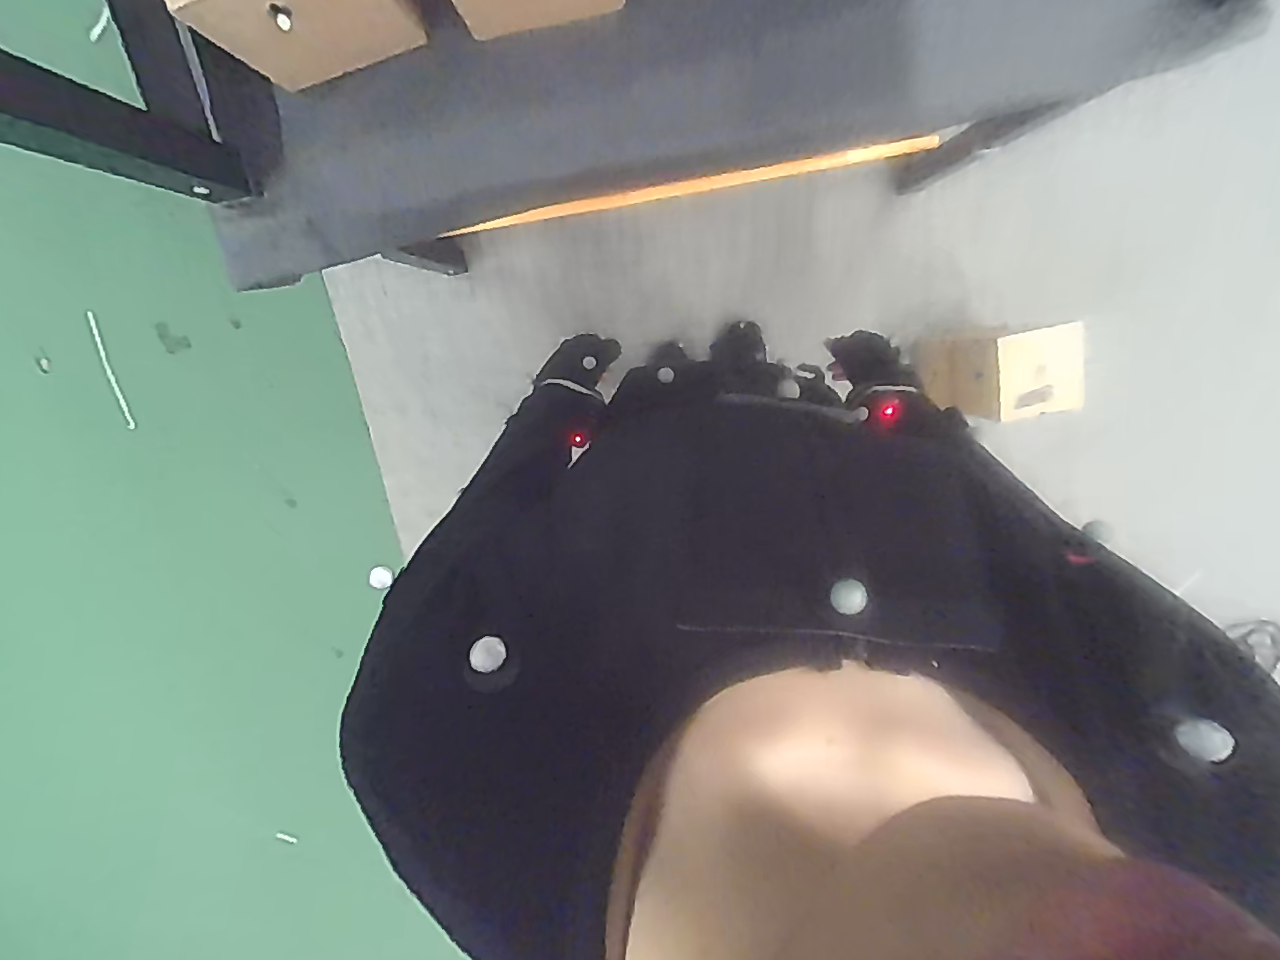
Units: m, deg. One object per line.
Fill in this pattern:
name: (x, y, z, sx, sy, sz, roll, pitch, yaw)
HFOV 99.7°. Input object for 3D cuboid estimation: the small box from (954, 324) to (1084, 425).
small box: (0.795, -0.228, 1.149, 0.168, 0.176, 0.179, -11, 103, 5)
